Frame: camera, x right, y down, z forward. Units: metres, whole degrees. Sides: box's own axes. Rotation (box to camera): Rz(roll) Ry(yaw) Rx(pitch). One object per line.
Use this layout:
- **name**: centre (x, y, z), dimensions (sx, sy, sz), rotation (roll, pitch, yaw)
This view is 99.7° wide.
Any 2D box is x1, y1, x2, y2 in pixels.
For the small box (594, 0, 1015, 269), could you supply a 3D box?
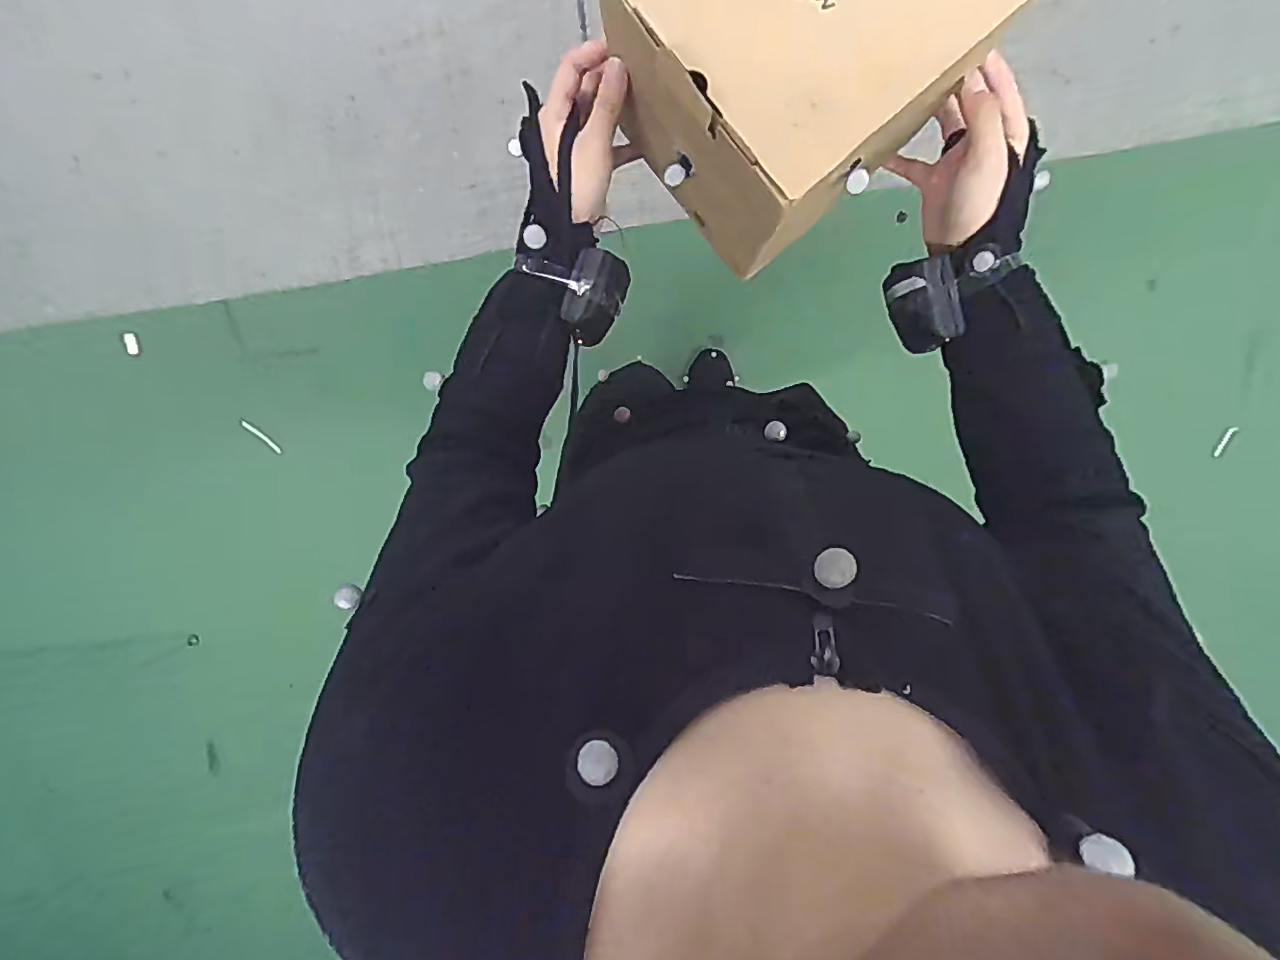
- **small box**: centre (0.095, -0.277, 0.368), dimensions (0.179, 0.176, 0.168), rotation (-40, 93, 7)
